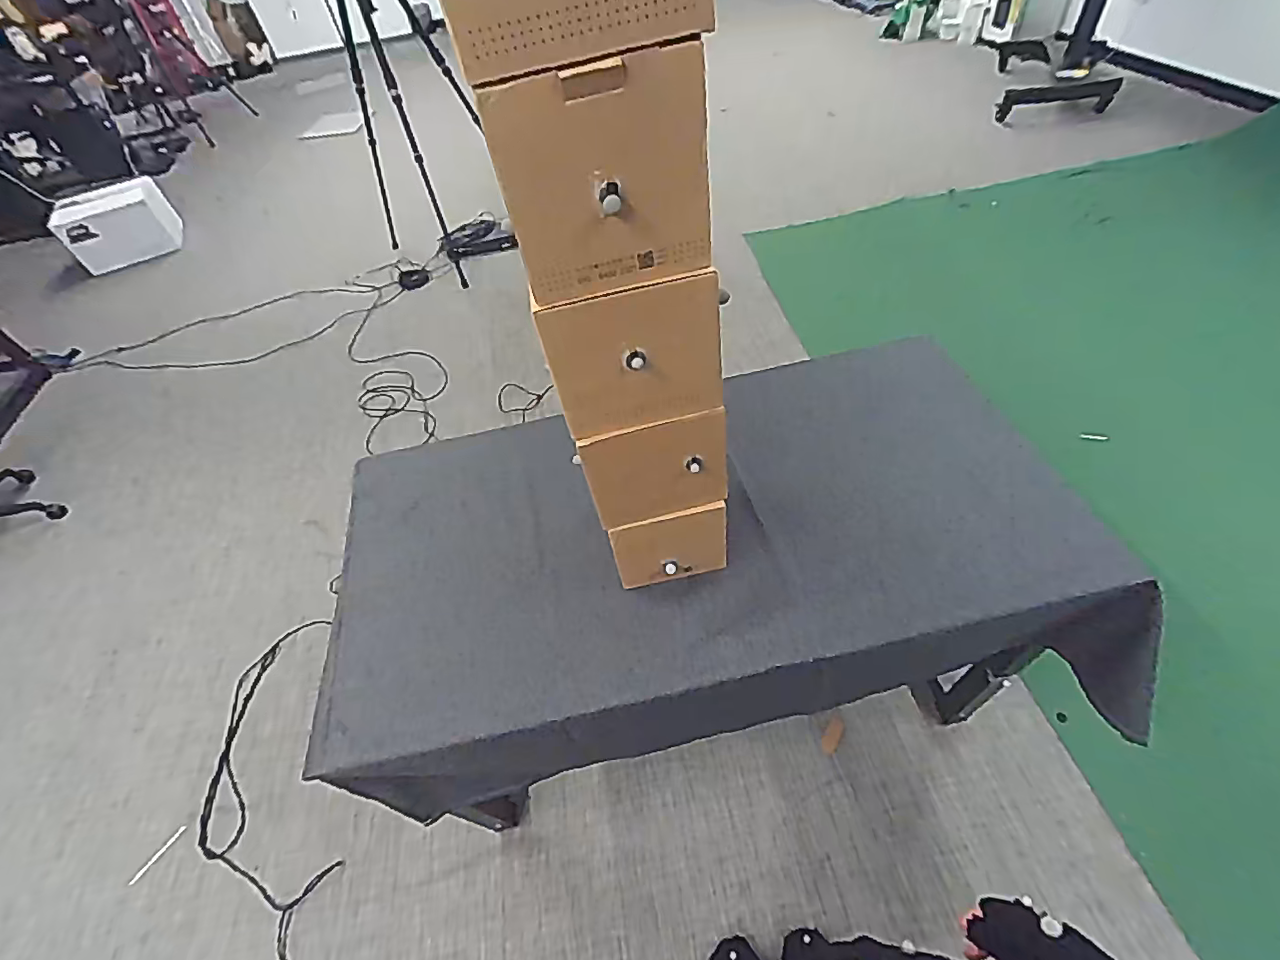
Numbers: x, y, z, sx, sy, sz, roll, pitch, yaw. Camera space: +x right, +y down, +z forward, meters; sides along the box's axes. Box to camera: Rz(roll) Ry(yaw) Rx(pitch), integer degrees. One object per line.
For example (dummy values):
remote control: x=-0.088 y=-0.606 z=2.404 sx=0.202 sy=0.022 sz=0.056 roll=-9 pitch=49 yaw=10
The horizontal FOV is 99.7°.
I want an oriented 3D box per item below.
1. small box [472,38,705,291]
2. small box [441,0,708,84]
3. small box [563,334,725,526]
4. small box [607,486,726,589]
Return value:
small box: x=-0.041 y=-0.290 z=0.492 sx=0.168 sy=0.176 sz=0.179 roll=-13 pitch=48 yaw=-1
small box: x=-0.060 y=-0.396 z=0.367 sx=0.179 sy=0.176 sz=0.168 roll=-13 pitch=48 yaw=-1
small box: x=0.007 y=-0.063 z=0.723 sx=0.179 sy=0.176 sz=0.168 roll=-14 pitch=48 yaw=-2
small box: x=0.033 y=0.043 z=0.844 sx=0.168 sy=0.176 sz=0.179 roll=-12 pitch=50 yaw=0
